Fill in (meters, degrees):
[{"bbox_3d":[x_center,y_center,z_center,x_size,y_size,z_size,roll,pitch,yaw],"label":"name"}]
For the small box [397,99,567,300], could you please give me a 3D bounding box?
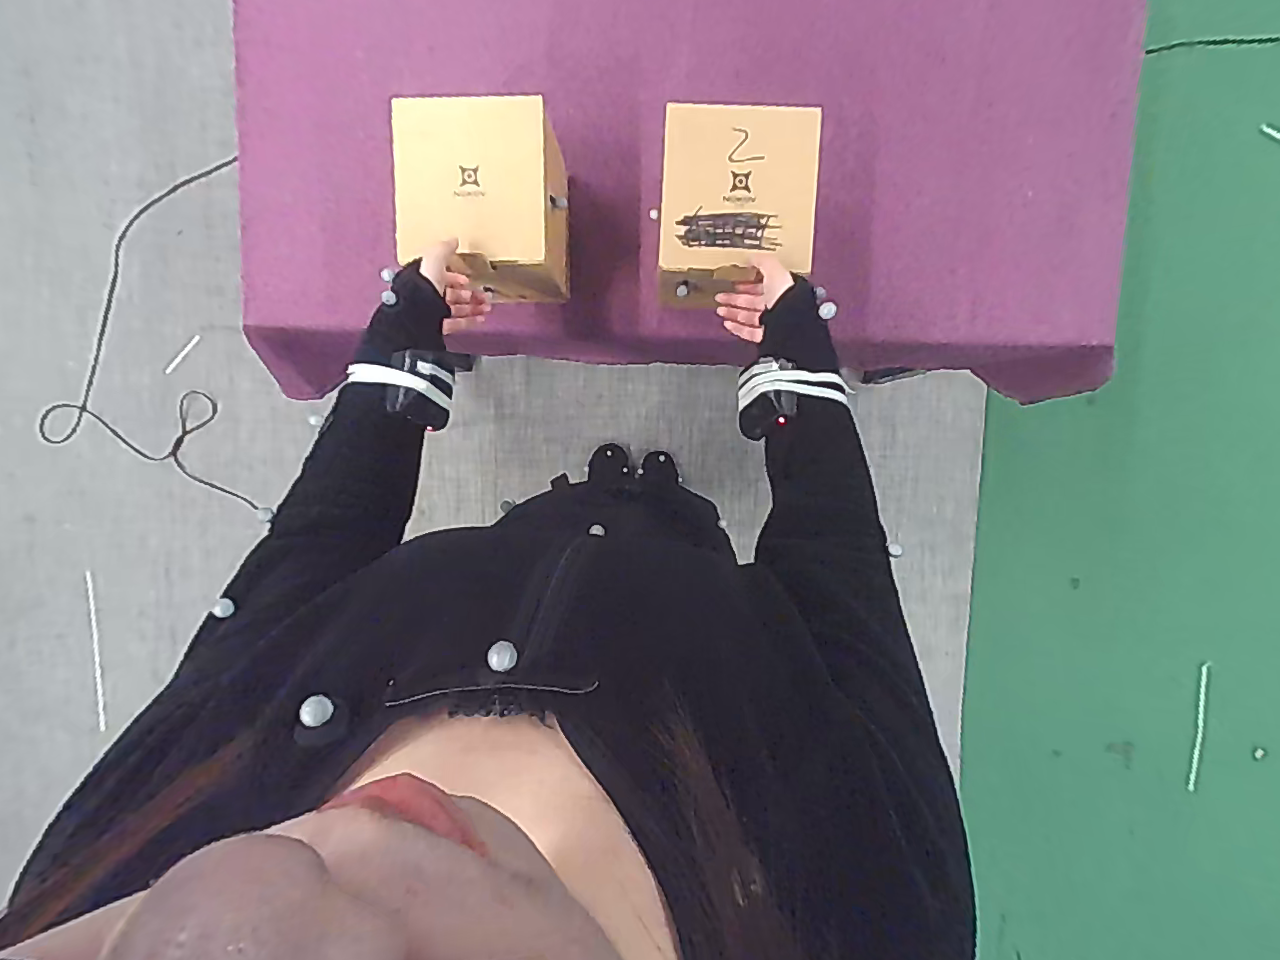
[{"bbox_3d":[-0.186,-0.337,0.679,0.168,0.176,0.179,0,95,1],"label":"small box"}]
